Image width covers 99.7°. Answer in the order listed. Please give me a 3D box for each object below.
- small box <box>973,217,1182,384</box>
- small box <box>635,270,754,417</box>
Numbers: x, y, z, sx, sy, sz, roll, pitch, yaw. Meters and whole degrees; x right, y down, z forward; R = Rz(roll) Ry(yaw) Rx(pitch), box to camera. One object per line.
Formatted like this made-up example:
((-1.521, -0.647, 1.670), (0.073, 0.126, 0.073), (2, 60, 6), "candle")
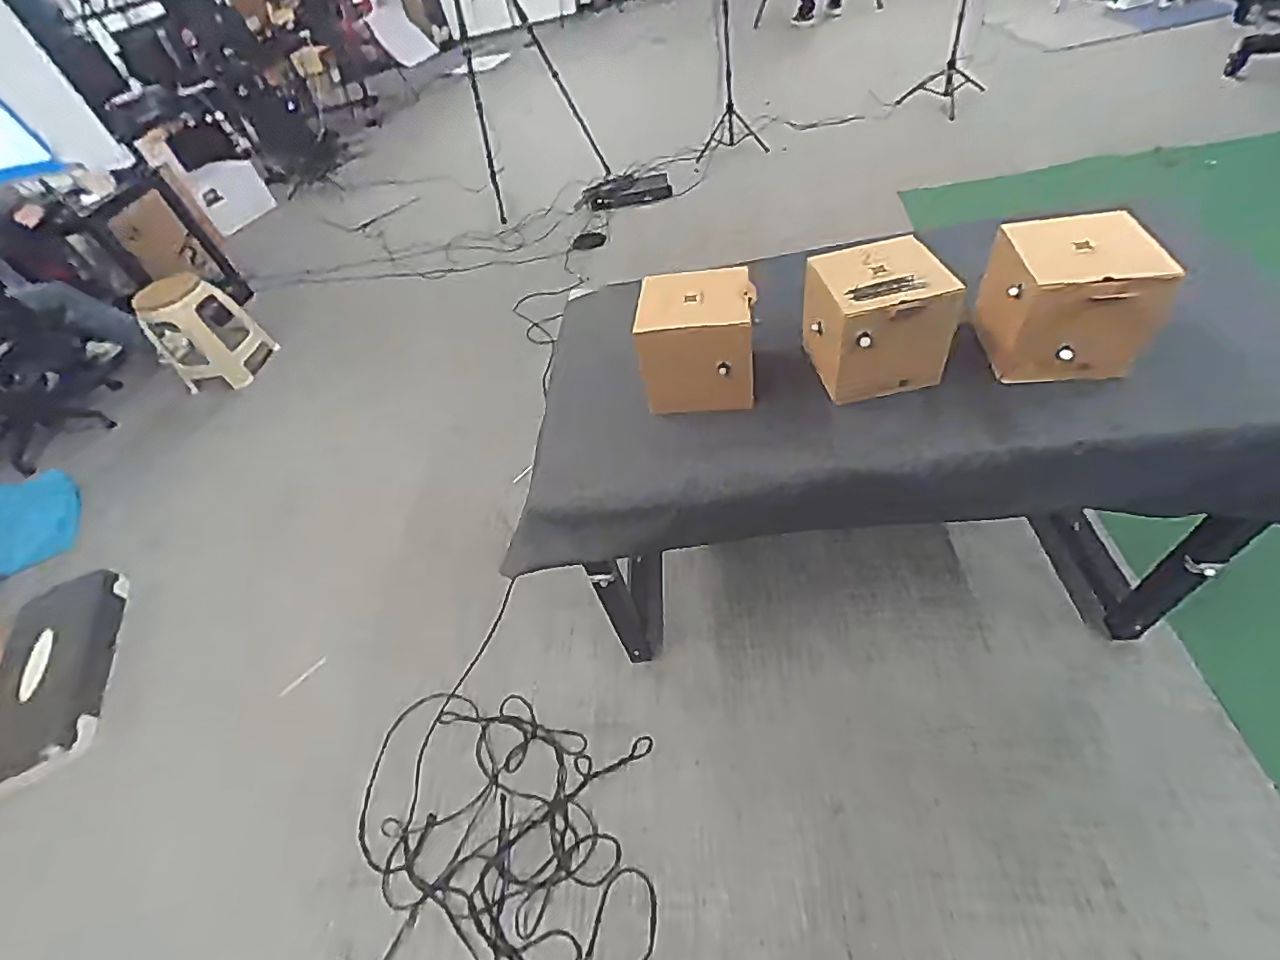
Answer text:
((0.628, -0.265, 0.810), (0.168, 0.176, 0.179), (-2, 50, 12), "small box")
((0.099, -0.222, 0.900), (0.179, 0.176, 0.168), (-3, 48, 12), "small box")
